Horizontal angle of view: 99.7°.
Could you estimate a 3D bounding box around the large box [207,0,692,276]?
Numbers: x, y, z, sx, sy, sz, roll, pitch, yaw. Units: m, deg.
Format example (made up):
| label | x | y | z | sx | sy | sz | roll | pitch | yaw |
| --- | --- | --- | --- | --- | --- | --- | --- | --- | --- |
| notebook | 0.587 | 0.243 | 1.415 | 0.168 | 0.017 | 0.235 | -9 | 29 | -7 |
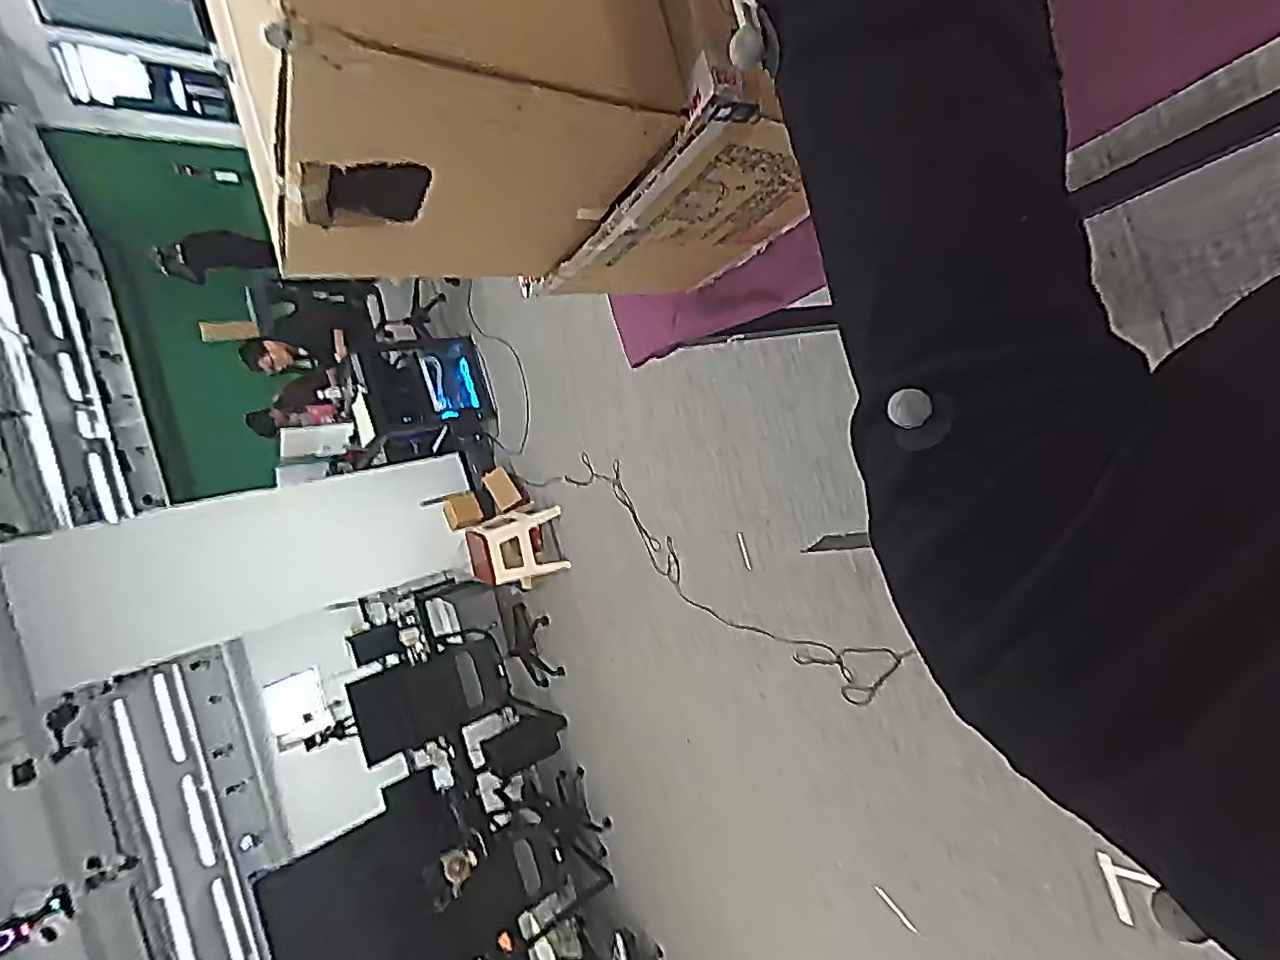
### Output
| label | x | y | z | sx | sy | sz | roll | pitch | yaw |
| --- | --- | --- | --- | --- | --- | --- | --- | --- | --- |
| large box | -0.207 | -0.453 | 0.506 | 0.320 | 0.320 | 0.408 | -18 | 89 | 56 |
